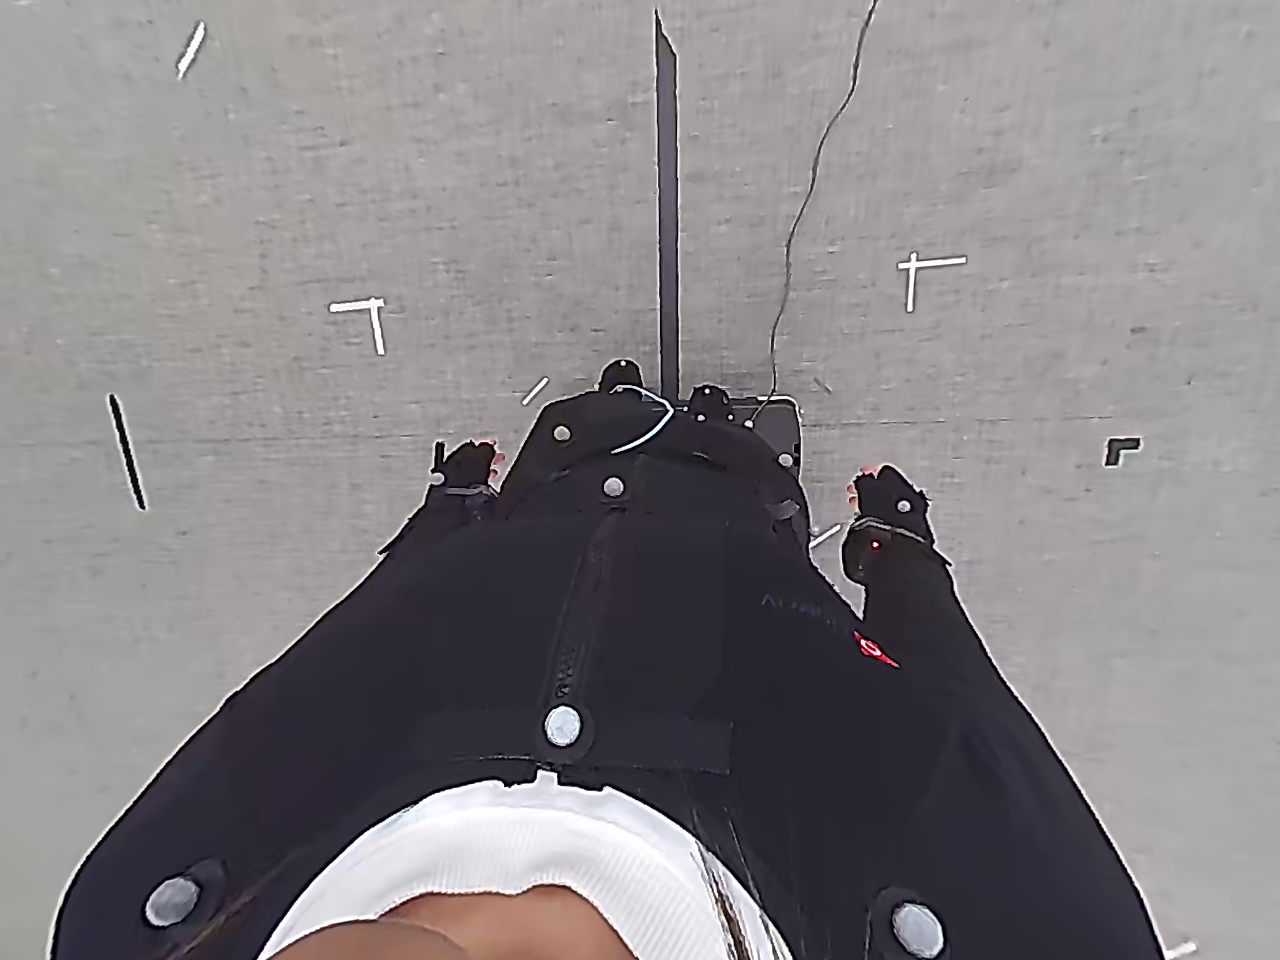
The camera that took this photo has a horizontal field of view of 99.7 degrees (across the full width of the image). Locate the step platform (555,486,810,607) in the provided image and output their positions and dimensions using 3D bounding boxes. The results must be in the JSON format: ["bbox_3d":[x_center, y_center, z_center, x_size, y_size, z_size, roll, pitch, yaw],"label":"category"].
[{"bbox_3d":[0.111,0.180,1.486,0.684,0.204,0.286,-1,103,11],"label":"step platform"}]
